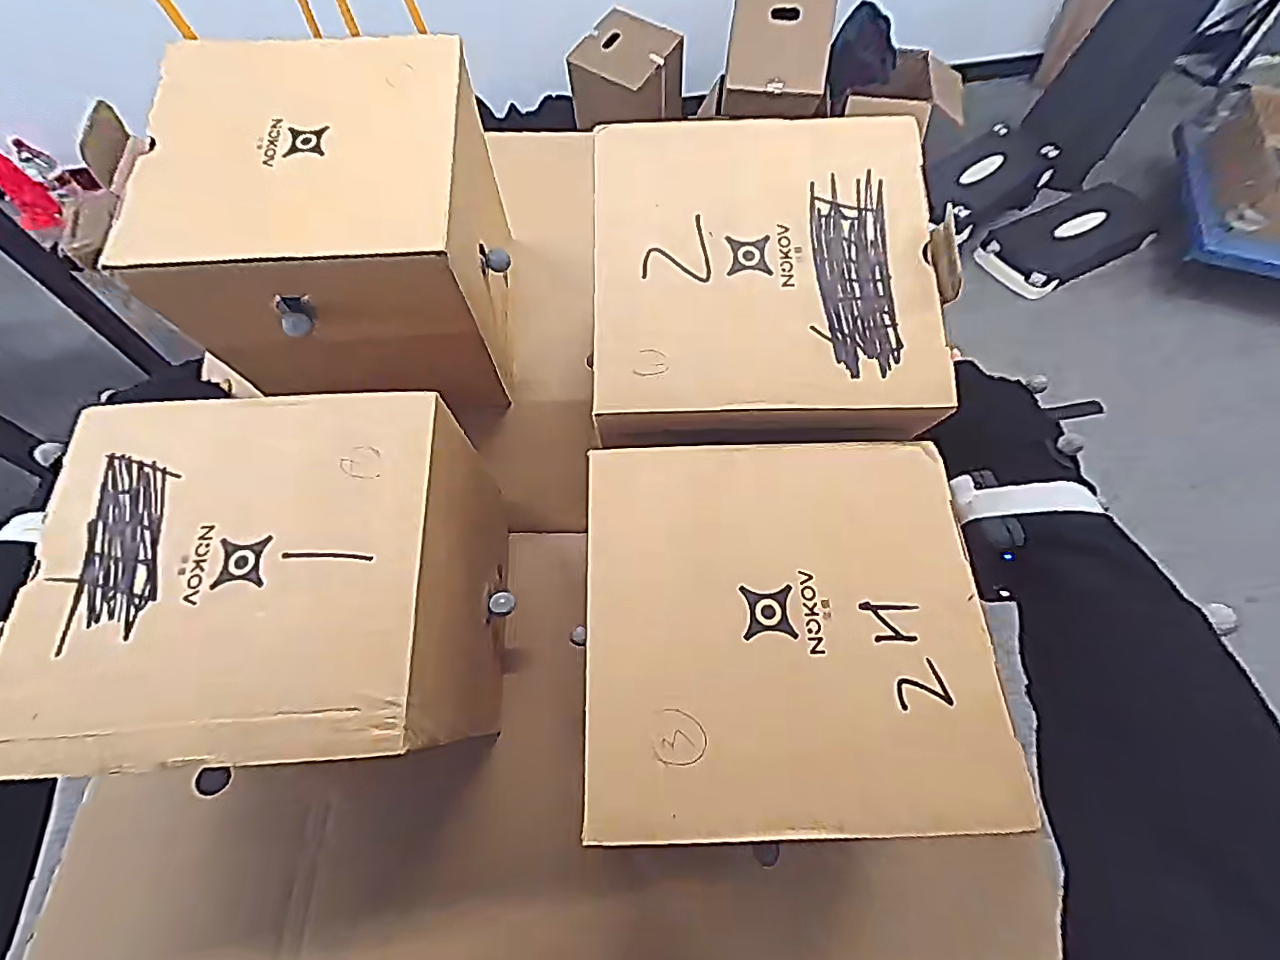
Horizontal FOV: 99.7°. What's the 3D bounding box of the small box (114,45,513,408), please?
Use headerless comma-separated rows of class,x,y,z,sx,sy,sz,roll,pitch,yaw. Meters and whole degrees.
small box,-0.193,-0.162,0.384,0.179,0.176,0.168,-3,70,-1
